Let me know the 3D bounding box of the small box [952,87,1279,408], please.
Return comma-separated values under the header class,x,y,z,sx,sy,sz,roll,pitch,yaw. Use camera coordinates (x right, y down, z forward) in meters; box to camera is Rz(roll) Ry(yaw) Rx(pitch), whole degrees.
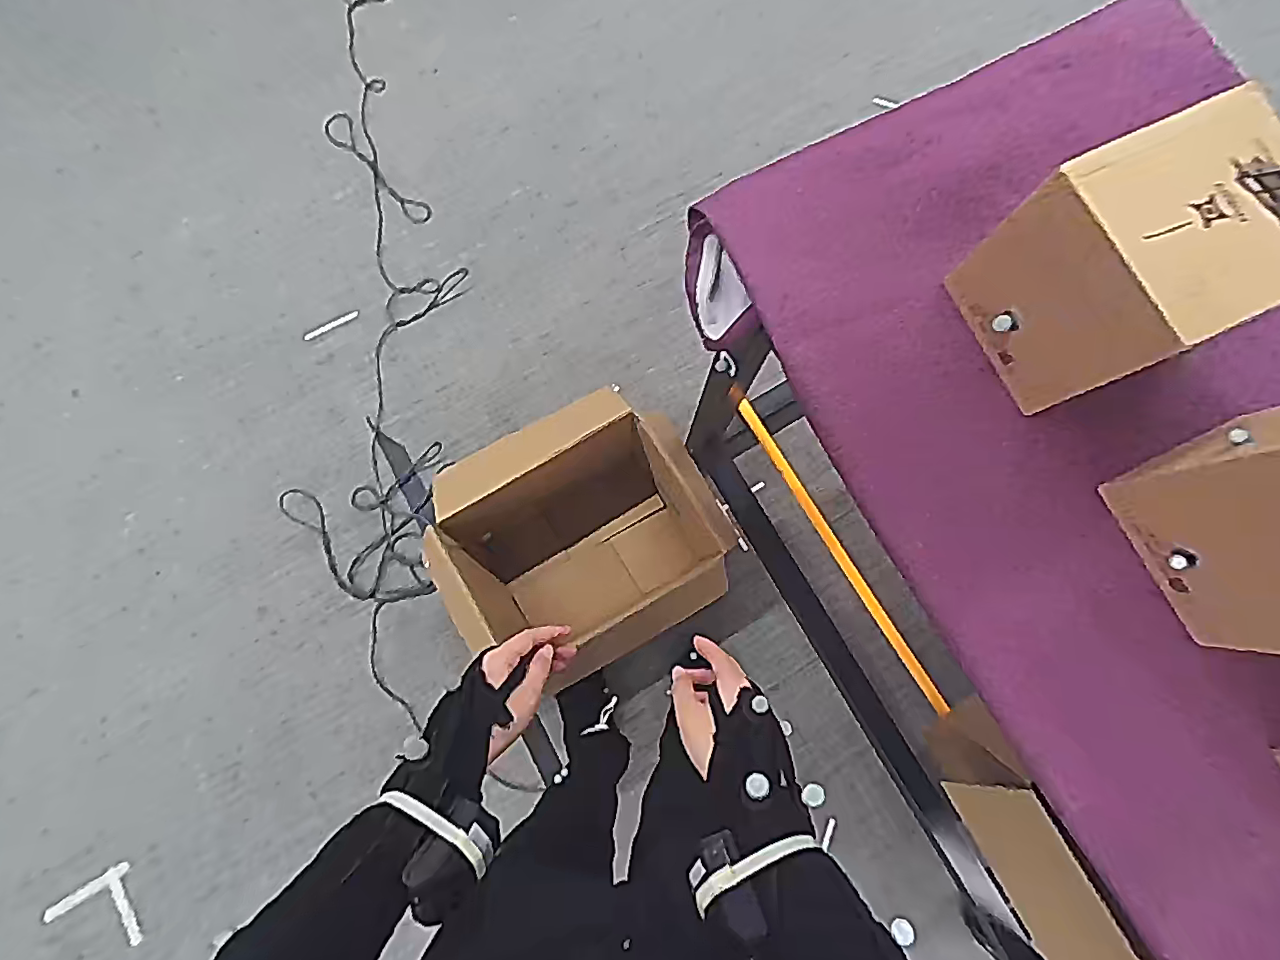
class,x,y,z,sx,sy,sz,roll,pitch,yaw
small box,0.431,-0.187,0.483,0.179,0.176,0.168,-24,80,-4
